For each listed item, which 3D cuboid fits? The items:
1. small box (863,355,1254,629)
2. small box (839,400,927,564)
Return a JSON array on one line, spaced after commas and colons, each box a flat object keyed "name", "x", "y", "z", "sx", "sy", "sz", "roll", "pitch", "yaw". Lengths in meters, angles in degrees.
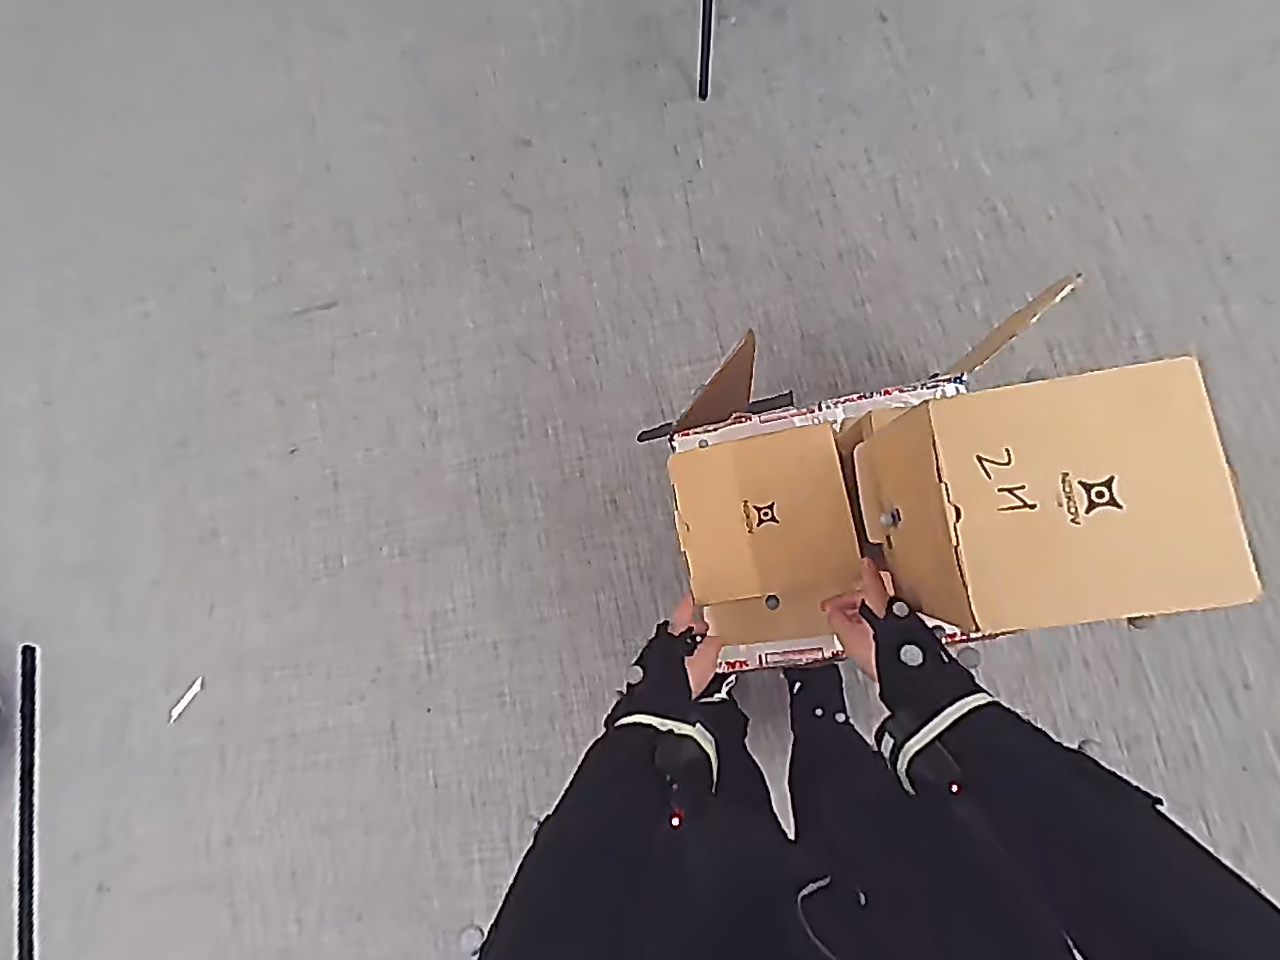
[{"name": "small box", "x": 0.304, "y": 0.016, "z": 0.439, "sx": 0.179, "sy": 0.176, "sz": 0.168, "roll": -9, "pitch": 83, "yaw": 8}, {"name": "small box", "x": 0.330, "y": 0.007, "z": 0.604, "sx": 0.179, "sy": 0.176, "sz": 0.168, "roll": -6, "pitch": 84, "yaw": 8}]
